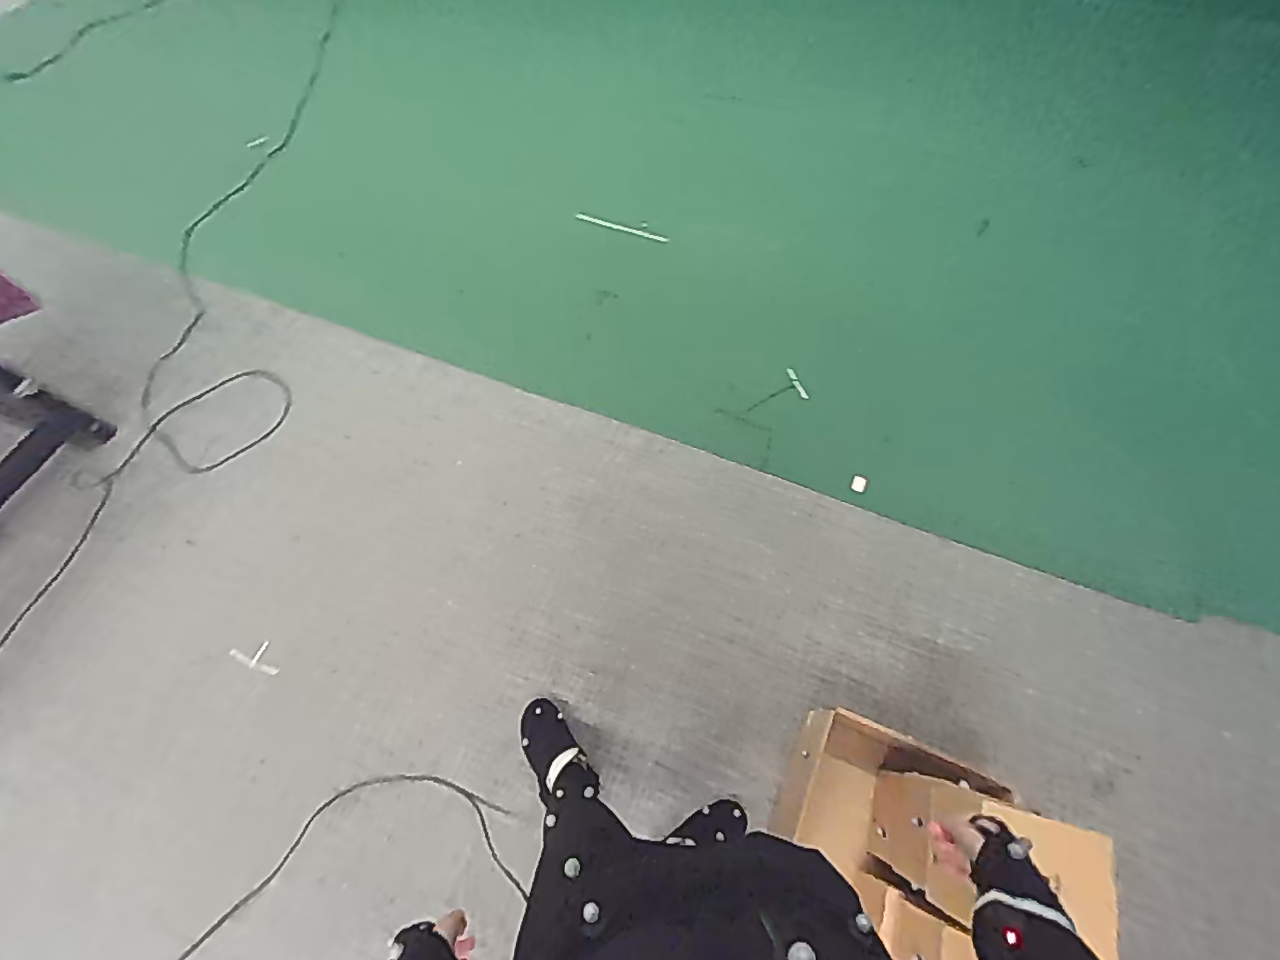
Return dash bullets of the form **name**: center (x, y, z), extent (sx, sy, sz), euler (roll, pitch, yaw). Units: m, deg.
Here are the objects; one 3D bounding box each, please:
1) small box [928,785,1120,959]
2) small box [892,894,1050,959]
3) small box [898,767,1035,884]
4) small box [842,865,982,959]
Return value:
- **small box**: center (0.556, 0.571, 0.806), extent (0.179, 0.176, 0.168), euler (14, 68, 9)
- **small box**: center (0.525, 0.814, 0.875), extent (0.168, 0.176, 0.179), euler (17, 65, 9)
- **small box**: center (0.577, 0.633, 0.956), extent (0.168, 0.176, 0.179), euler (17, 67, 10)
- **small box**: center (0.514, 0.871, 1.029), extent (0.179, 0.176, 0.168), euler (21, 66, 11)
